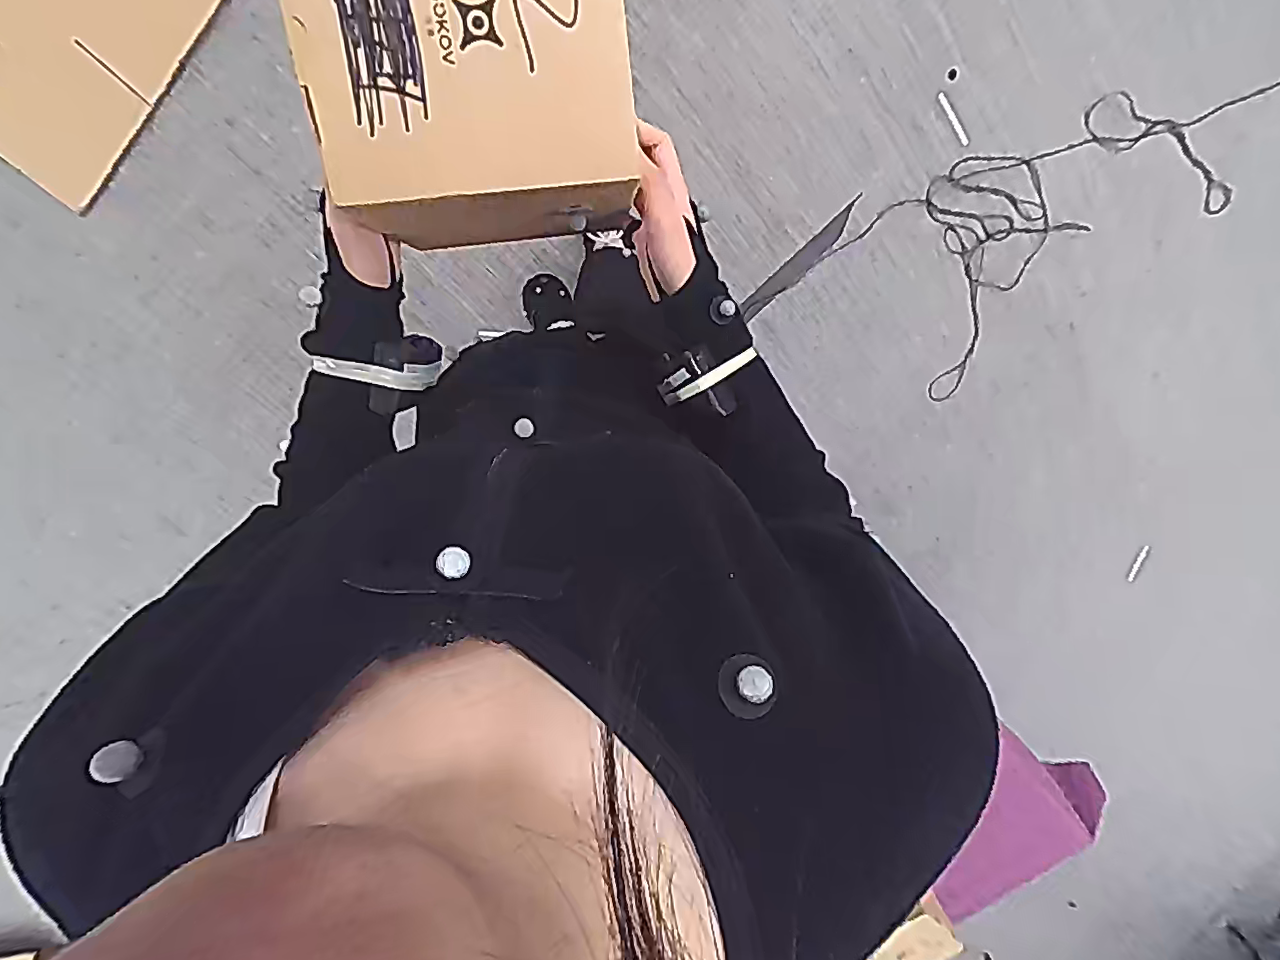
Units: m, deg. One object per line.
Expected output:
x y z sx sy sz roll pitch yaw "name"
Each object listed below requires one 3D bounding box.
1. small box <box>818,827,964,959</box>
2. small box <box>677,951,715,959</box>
0.472 0.829 1.051 0.179 0.176 0.168 -39 111 8 "small box"
0.125 1.146 1.134 0.168 0.176 0.179 -40 110 8 "small box"
